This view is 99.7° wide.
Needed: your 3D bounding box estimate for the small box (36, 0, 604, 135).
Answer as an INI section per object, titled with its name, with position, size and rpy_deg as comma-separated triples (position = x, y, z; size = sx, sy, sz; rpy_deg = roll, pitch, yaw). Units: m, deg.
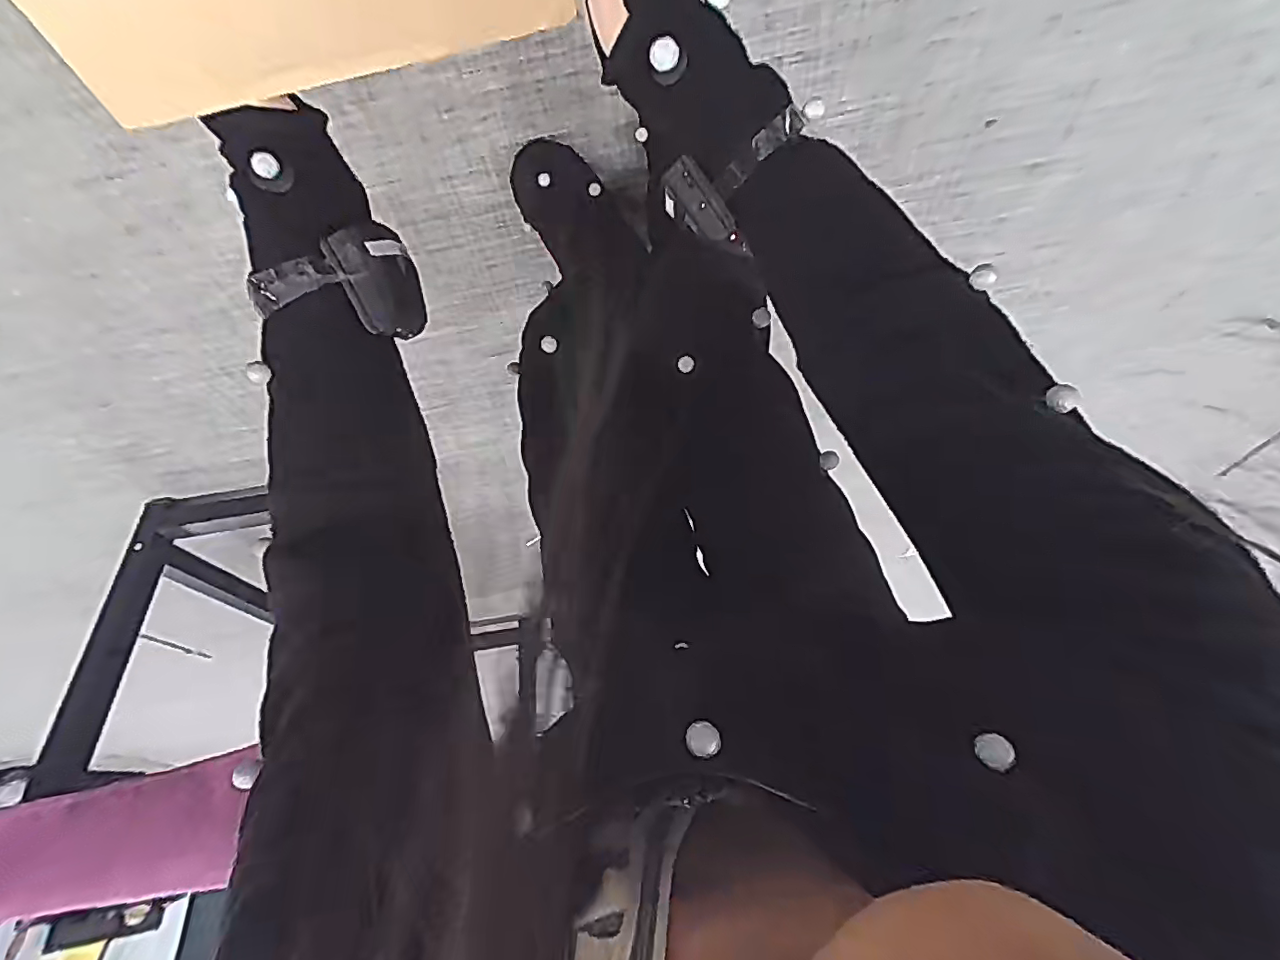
[small box]
position = -0.119, -0.253, 0.173
size = 0.179, 0.176, 0.168
rpy_deg = -11, 145, 4
